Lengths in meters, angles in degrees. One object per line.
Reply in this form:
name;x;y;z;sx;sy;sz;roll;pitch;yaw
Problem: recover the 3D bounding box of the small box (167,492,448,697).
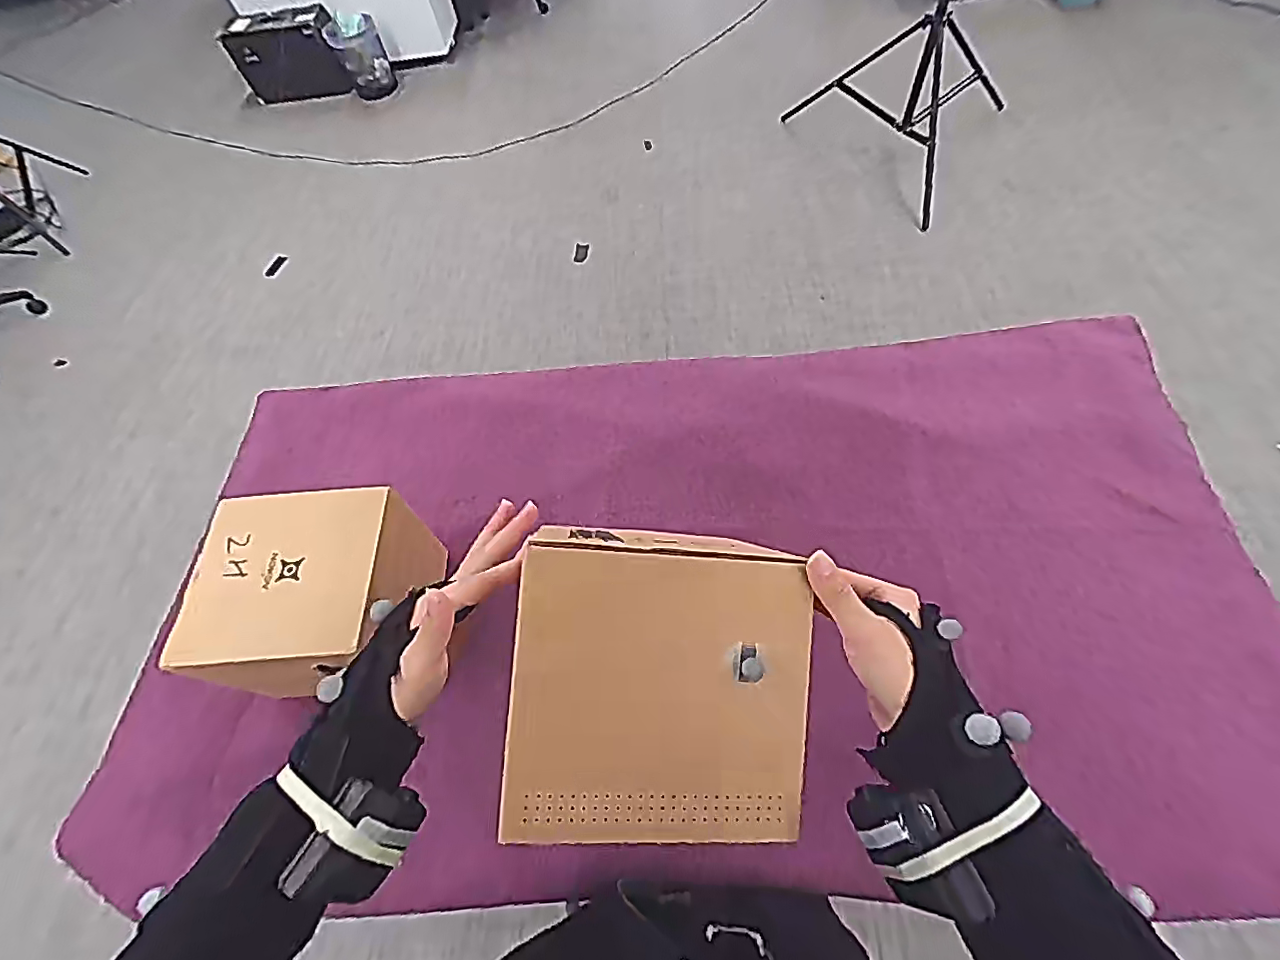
small box;-0.322;0.128;0.573;0.179;0.176;0.168;-4;59;1
